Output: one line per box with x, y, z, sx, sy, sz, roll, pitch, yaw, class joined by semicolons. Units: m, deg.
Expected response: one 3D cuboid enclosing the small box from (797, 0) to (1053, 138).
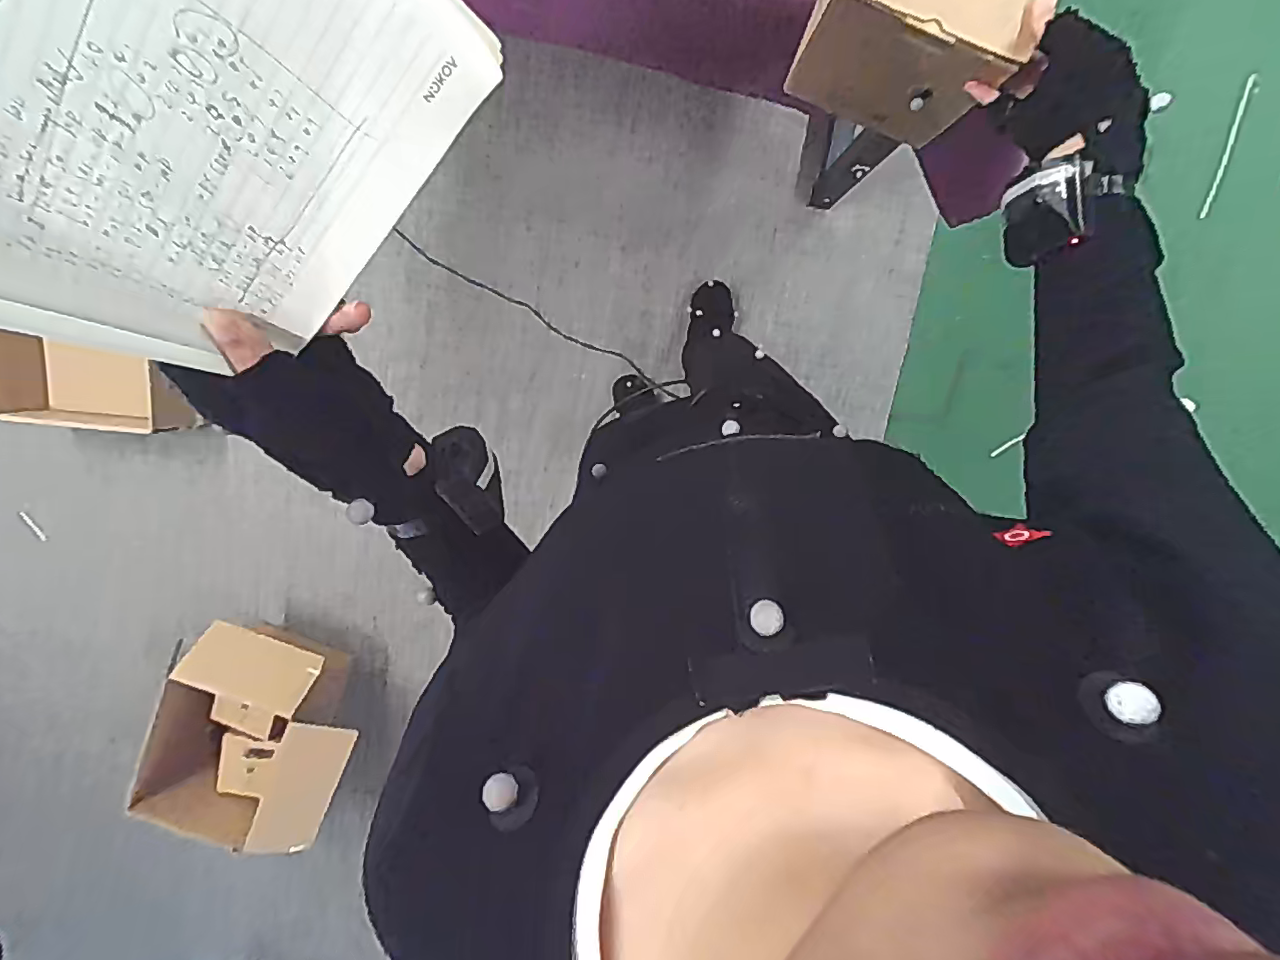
0.261;-0.453;0.489;0.168;0.176;0.179;20;101;-5;small box
